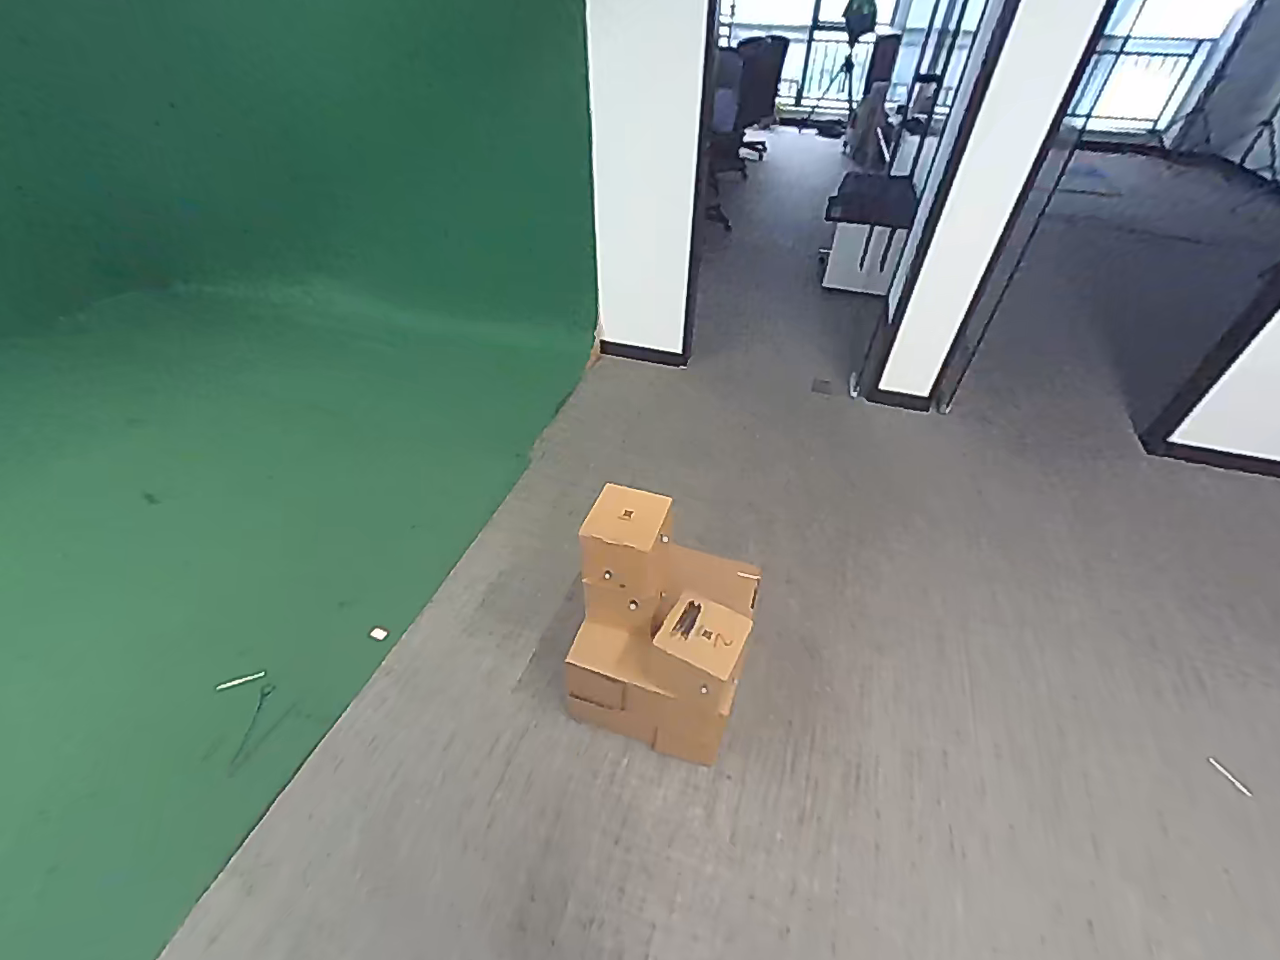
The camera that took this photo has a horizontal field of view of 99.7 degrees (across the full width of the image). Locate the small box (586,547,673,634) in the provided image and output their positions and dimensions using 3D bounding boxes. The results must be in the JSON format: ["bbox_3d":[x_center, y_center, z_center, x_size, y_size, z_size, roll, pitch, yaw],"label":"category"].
[{"bbox_3d":[-0.024,0.263,1.366,0.179,0.176,0.168,12,42,13],"label":"small box"}]

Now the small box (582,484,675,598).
[{"bbox_3d":[-0.025,0.141,1.259,0.168,0.176,0.179,14,43,14],"label":"small box"}]
